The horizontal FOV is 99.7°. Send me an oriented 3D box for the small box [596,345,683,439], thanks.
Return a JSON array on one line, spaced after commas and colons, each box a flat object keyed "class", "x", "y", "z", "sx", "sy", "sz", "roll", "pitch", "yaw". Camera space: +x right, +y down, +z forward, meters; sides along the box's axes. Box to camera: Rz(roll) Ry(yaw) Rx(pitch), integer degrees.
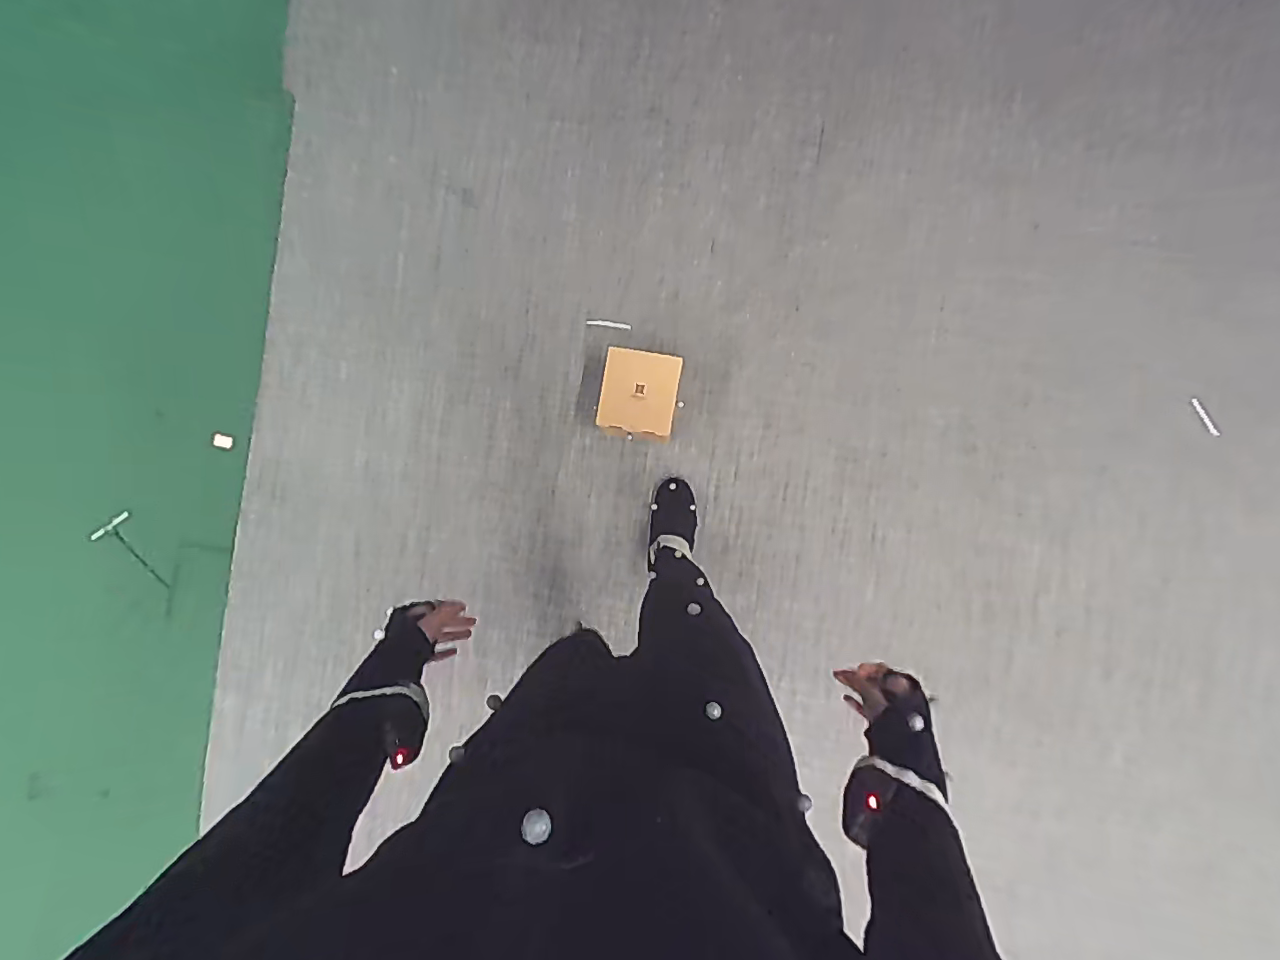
[{"class": "small box", "x": 0.001, "y": -0.196, "z": 1.249, "sx": 0.168, "sy": 0.176, "sz": 0.179, "roll": 10, "pitch": 92, "yaw": 3}]
